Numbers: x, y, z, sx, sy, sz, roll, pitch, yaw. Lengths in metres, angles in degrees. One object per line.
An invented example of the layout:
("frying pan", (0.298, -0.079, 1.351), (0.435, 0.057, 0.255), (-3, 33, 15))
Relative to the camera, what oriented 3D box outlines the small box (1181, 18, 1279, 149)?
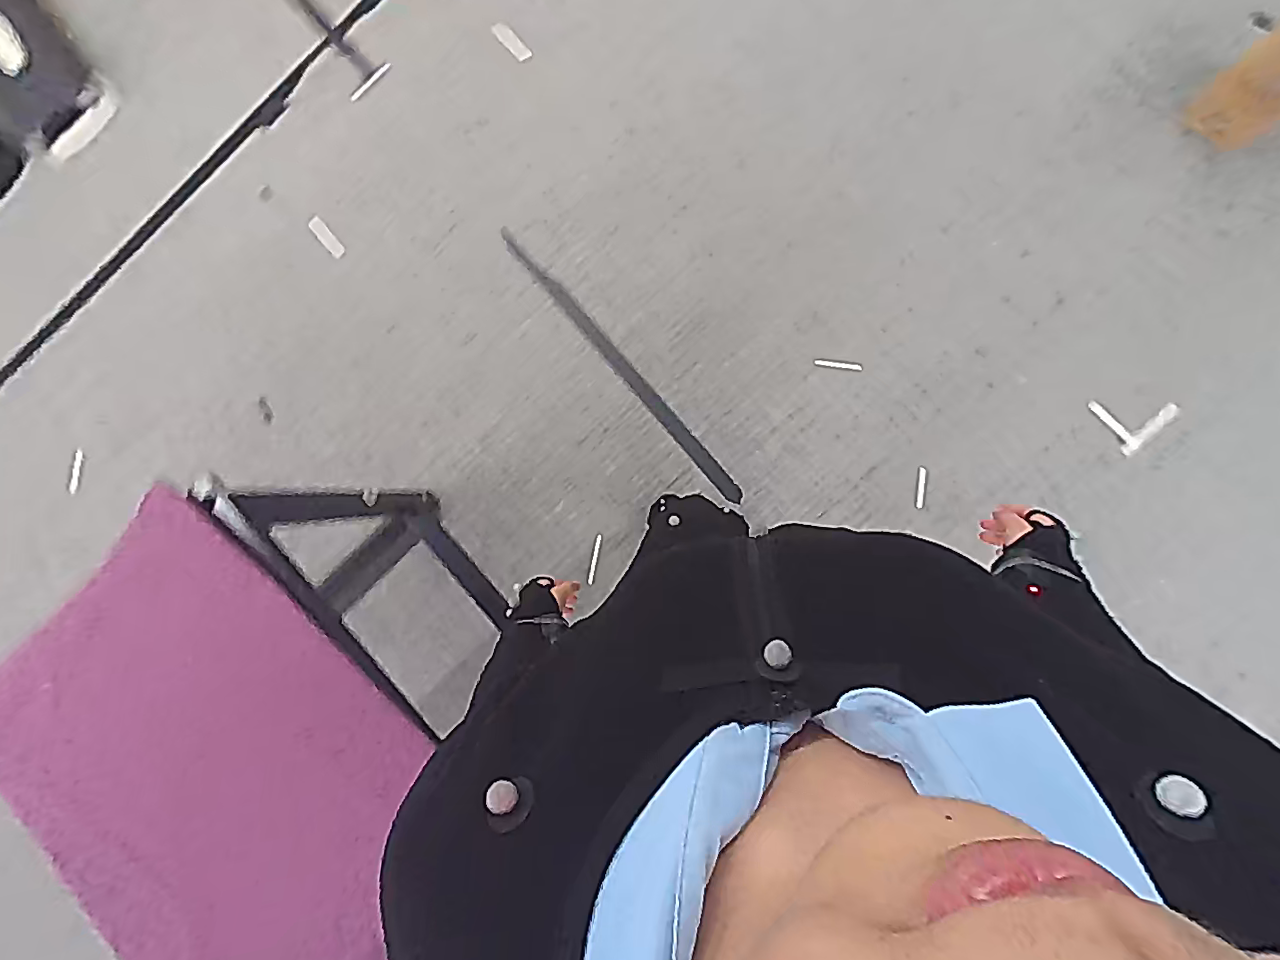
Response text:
("small box", (1.505, -0.969, 1.319), (0.168, 0.176, 0.179), (42, 93, 6))
